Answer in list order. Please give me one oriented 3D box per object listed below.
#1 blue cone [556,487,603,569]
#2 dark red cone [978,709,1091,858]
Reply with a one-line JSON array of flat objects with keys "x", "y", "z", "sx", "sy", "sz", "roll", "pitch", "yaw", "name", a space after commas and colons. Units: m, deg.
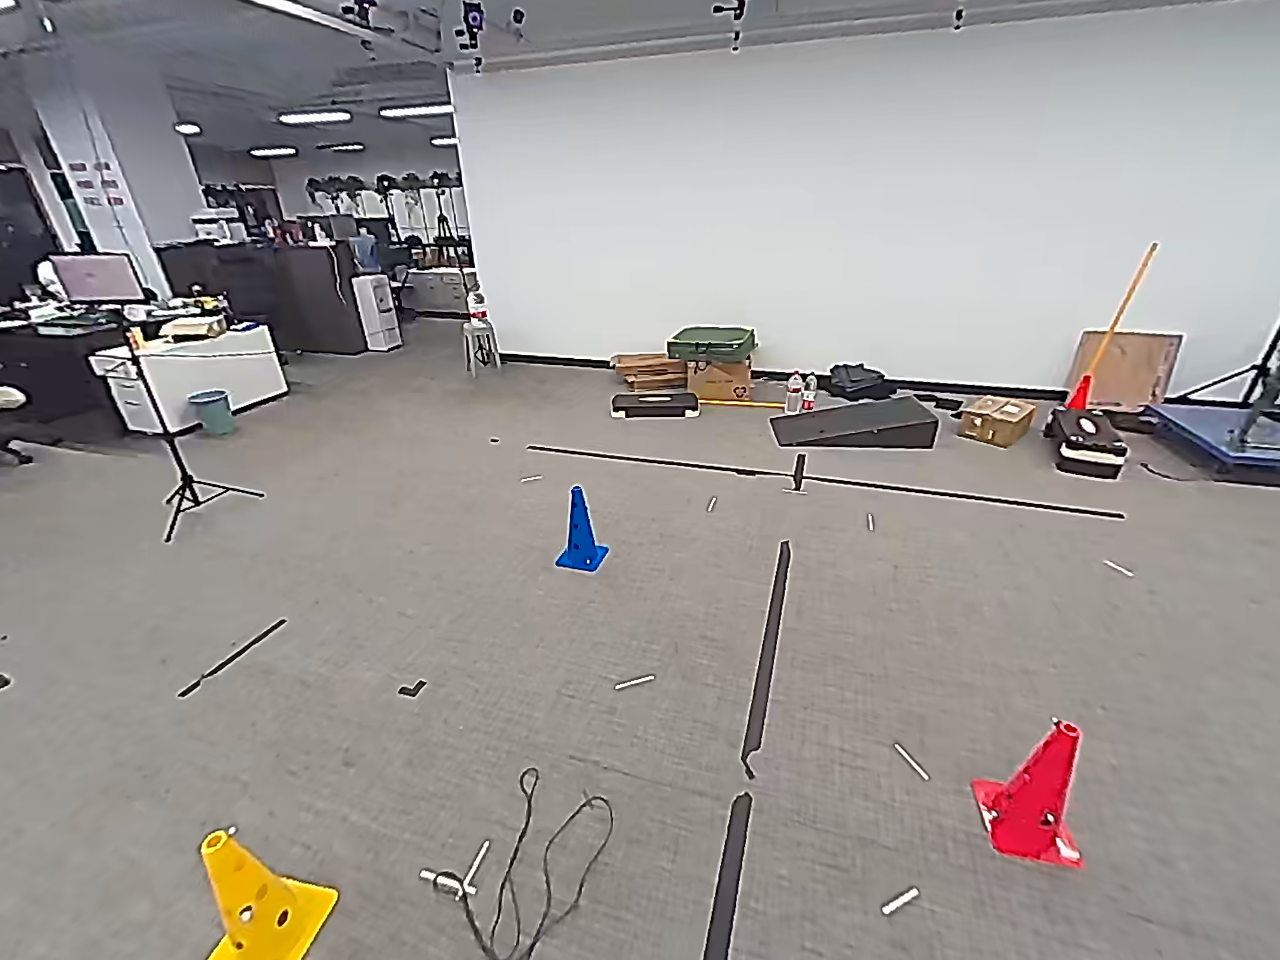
[{"x": -0.281, "y": 0.204, "z": 2.417, "sx": 0.192, "sy": 0.380, "sz": 0.193, "roll": 7, "pitch": 28, "yaw": 18, "name": "blue cone"}, {"x": 0.992, "y": 0.703, "z": 1.308, "sx": 0.201, "sy": 0.394, "sz": 0.202, "roll": 3, "pitch": 27, "yaw": 10, "name": "dark red cone"}]
